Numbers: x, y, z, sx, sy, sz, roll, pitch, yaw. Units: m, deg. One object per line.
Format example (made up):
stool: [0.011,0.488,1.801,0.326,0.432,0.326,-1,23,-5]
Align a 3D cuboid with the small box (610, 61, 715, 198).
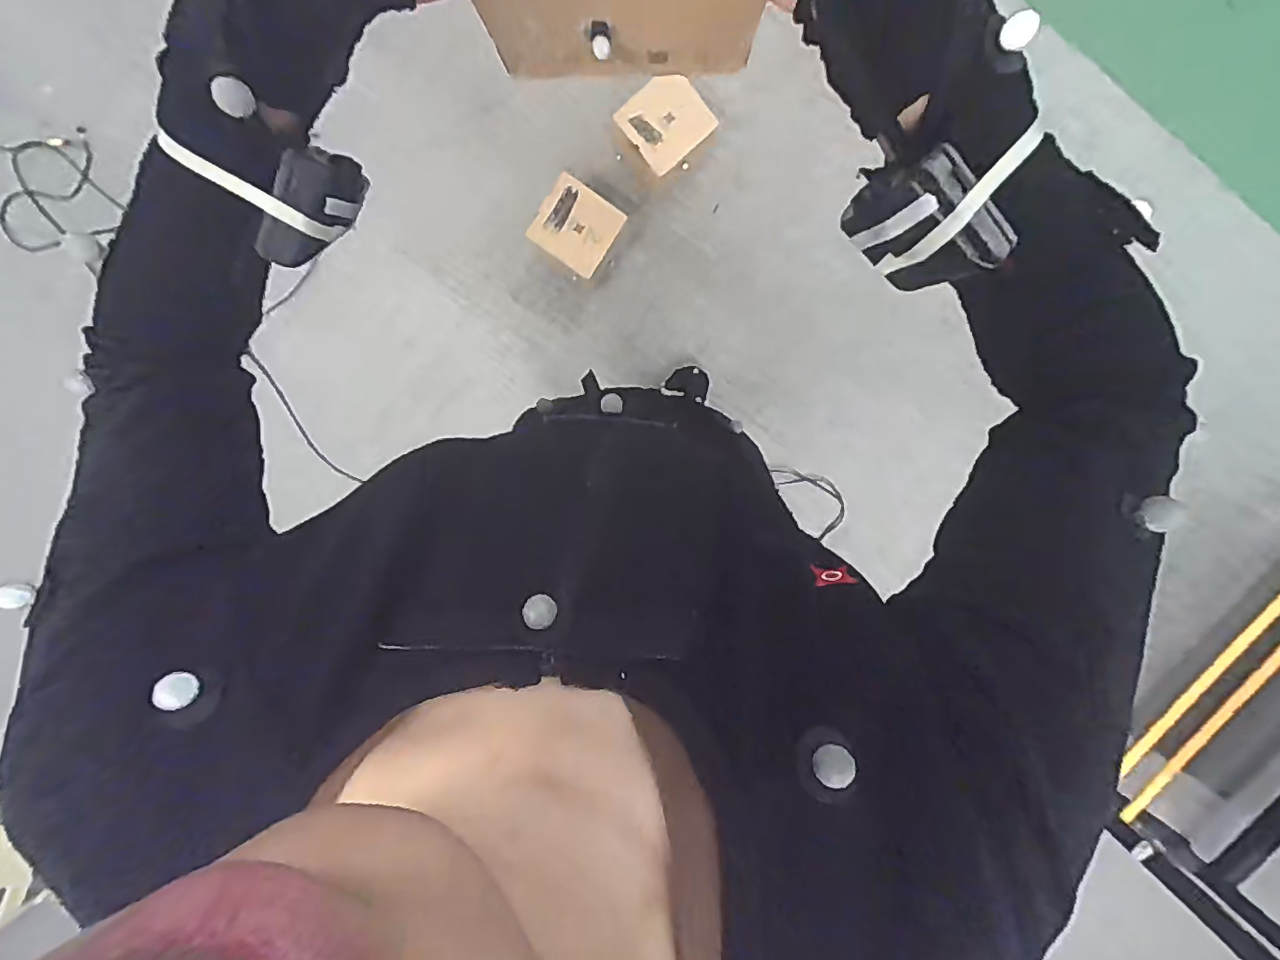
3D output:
small box: [0.049,-0.796,1.253,0.179,0.176,0.168,-40,99,5]
